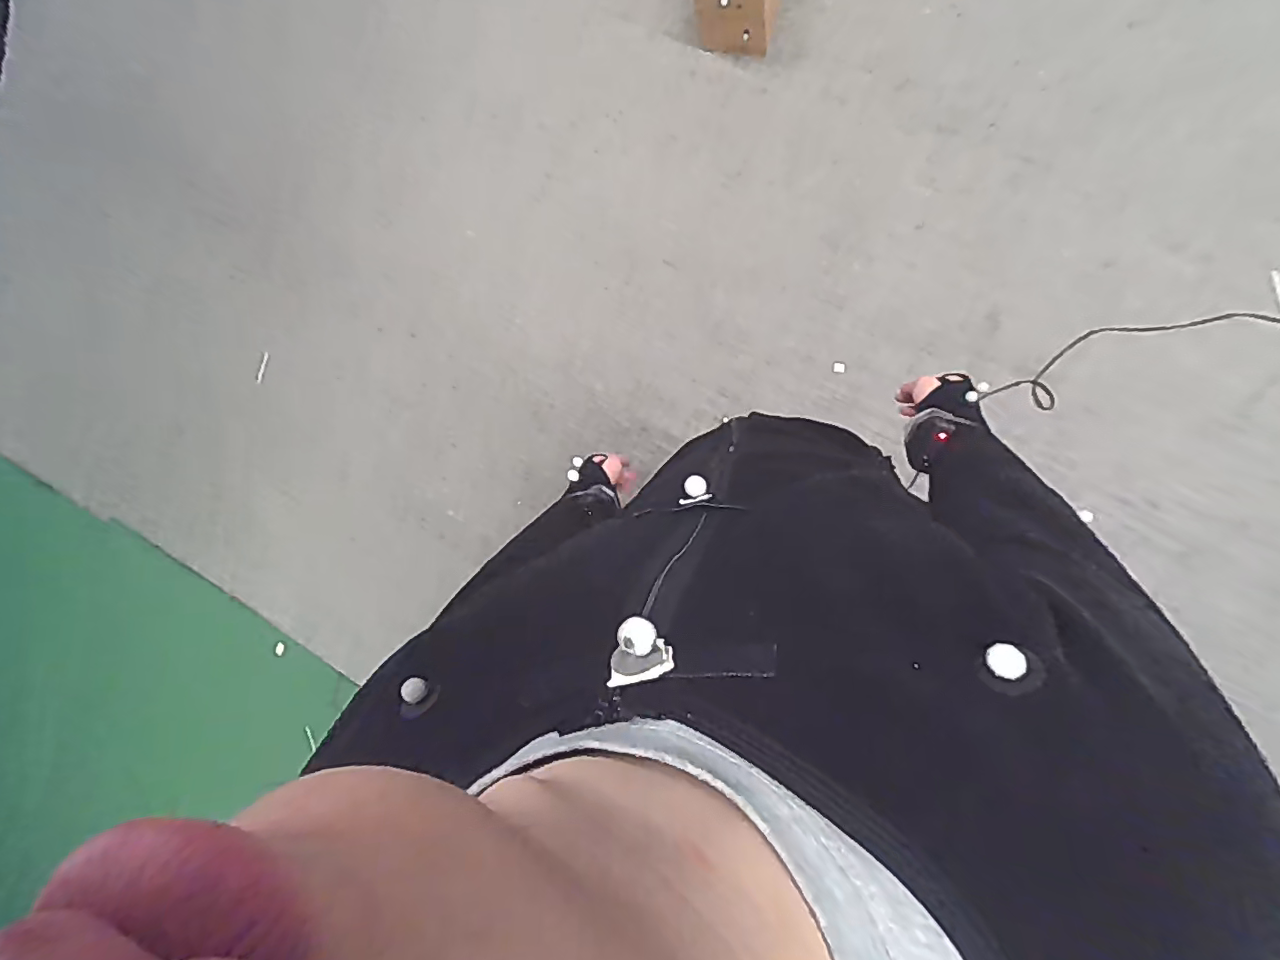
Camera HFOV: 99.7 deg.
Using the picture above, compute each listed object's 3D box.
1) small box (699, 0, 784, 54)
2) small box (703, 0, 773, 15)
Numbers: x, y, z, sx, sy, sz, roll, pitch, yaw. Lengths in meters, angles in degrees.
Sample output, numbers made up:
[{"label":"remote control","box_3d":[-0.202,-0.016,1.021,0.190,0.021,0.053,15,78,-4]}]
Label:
[{"label":"small box","box_3d":[0.248,-1.150,1.273,0.168,0.176,0.179,15,101,12]},{"label":"small box","box_3d":[0.211,-1.121,1.115,0.168,0.176,0.179,16,104,12]}]
